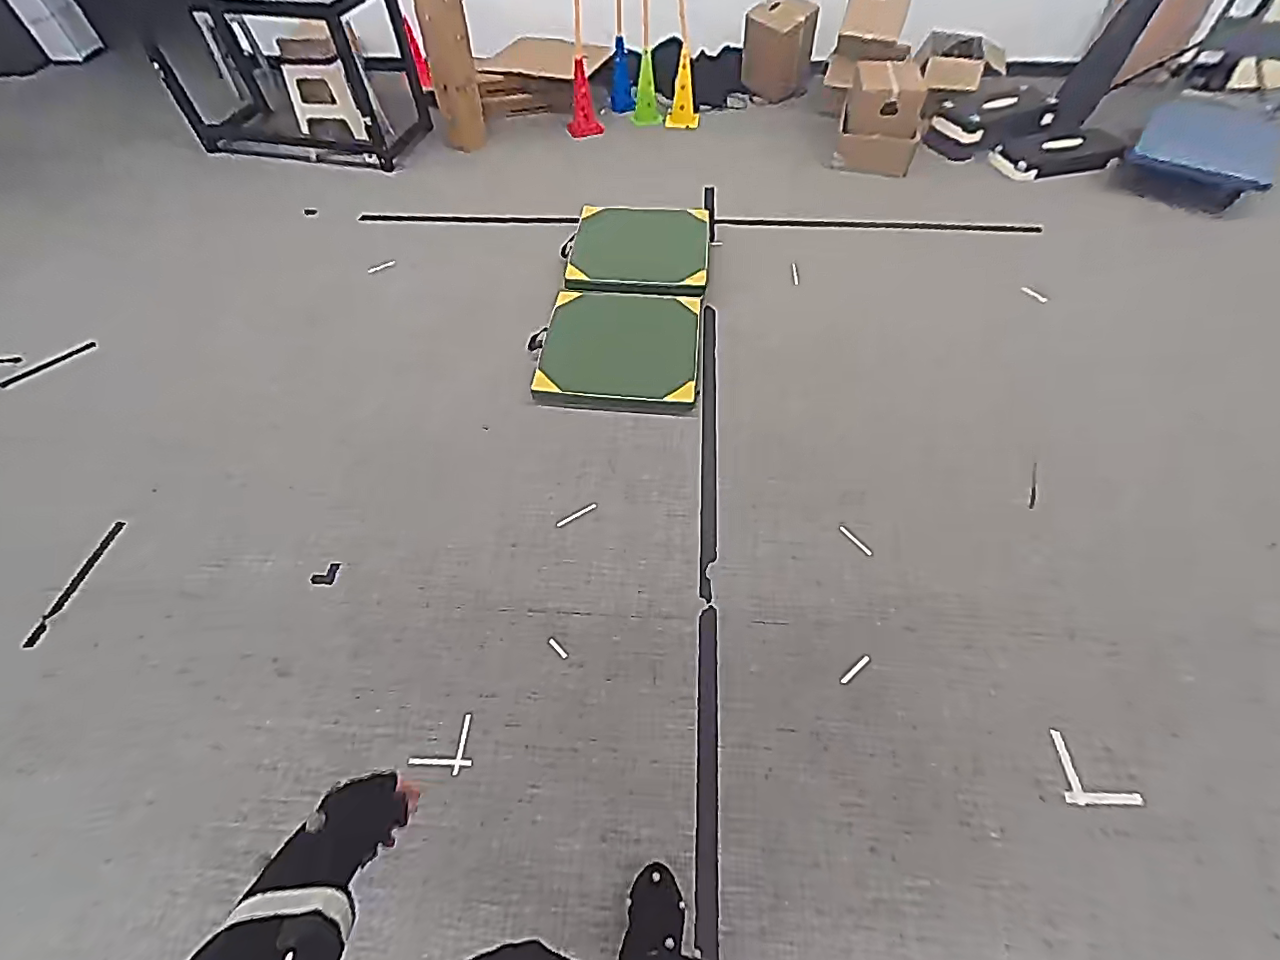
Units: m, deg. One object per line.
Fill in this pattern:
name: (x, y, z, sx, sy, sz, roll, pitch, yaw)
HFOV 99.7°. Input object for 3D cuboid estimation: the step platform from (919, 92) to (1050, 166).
step platform: (1.968, -2.014, 3.088, 0.684, 0.204, 0.286, -21, 58, -13)
